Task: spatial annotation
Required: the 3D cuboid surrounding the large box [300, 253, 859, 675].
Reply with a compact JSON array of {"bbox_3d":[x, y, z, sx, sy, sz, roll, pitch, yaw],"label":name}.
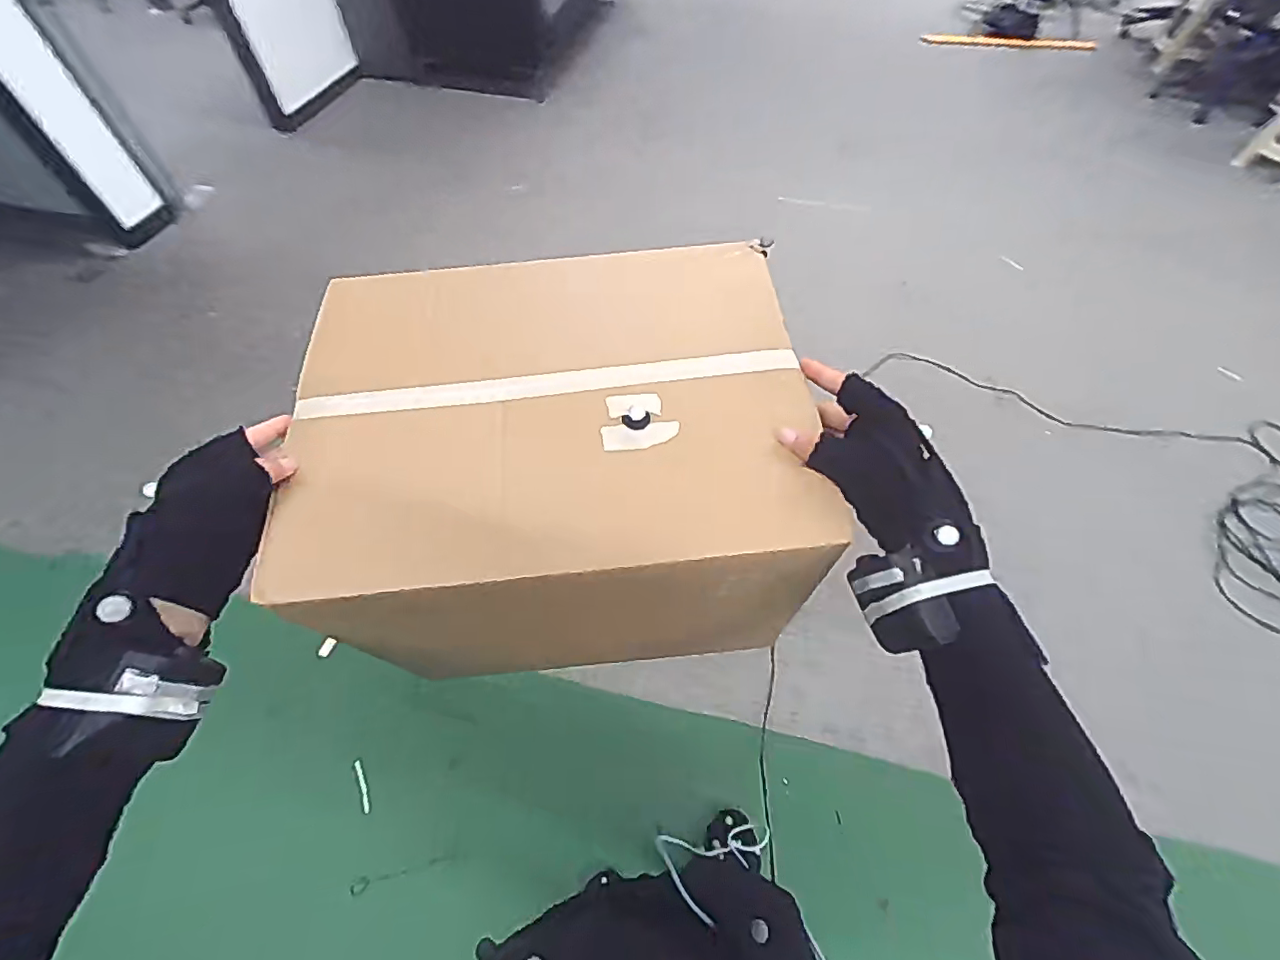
[{"bbox_3d":[-0.052,0.002,0.579,0.408,0.320,0.320,-5,61,-2],"label":"large box"}]
